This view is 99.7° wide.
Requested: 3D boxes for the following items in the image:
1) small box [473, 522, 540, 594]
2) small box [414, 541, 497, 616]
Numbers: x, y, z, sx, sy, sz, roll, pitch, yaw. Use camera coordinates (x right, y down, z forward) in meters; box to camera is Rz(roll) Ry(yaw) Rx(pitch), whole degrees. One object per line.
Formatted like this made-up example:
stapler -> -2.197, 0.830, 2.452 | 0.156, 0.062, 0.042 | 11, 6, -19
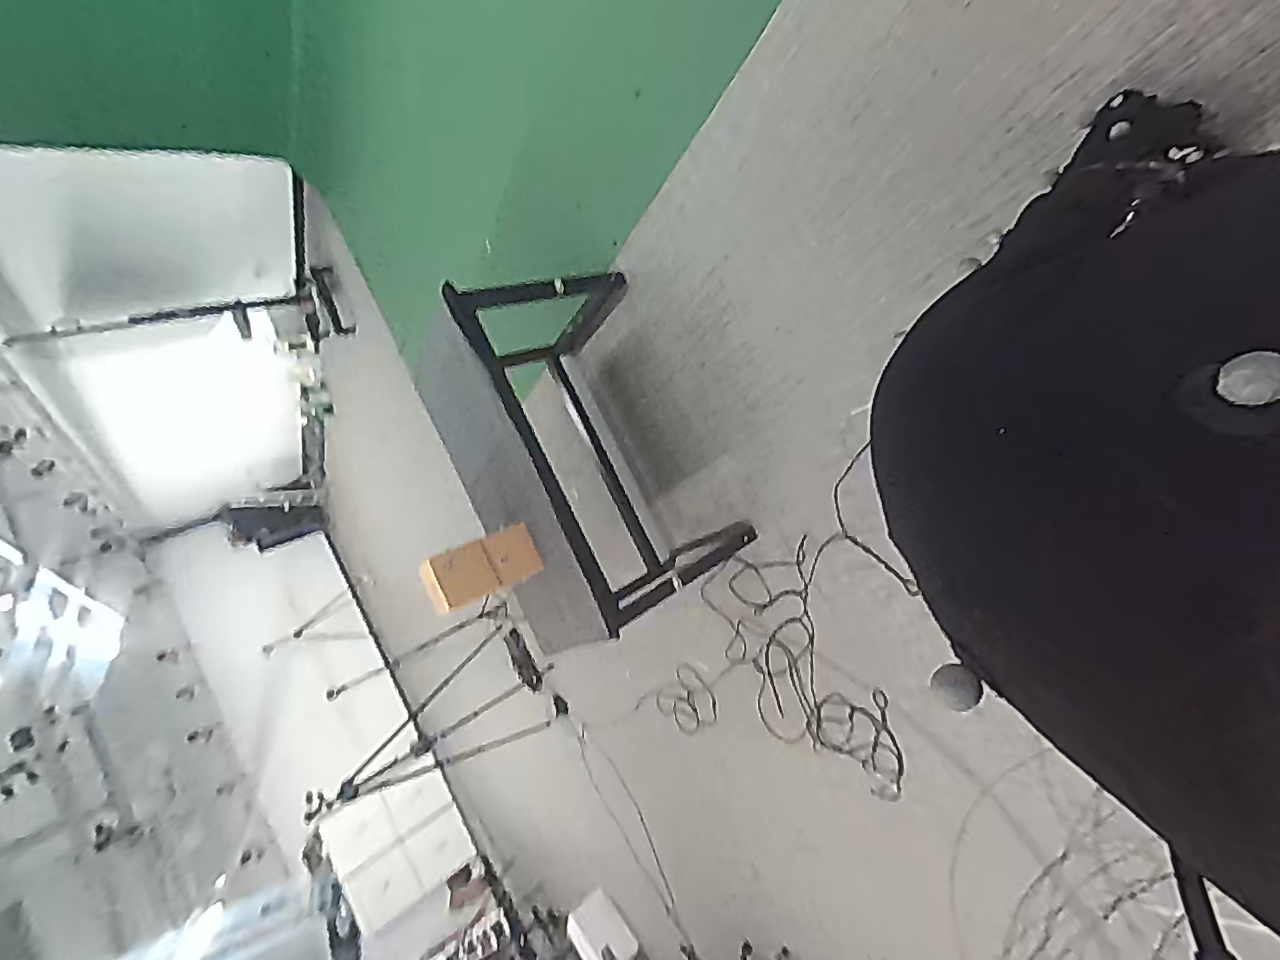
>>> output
small box -> -0.460, 0.260, 1.804 | 0.168, 0.176, 0.179 | -28, 86, 52
small box -> -0.579, 0.306, 1.699 | 0.168, 0.176, 0.179 | -31, 84, 53
